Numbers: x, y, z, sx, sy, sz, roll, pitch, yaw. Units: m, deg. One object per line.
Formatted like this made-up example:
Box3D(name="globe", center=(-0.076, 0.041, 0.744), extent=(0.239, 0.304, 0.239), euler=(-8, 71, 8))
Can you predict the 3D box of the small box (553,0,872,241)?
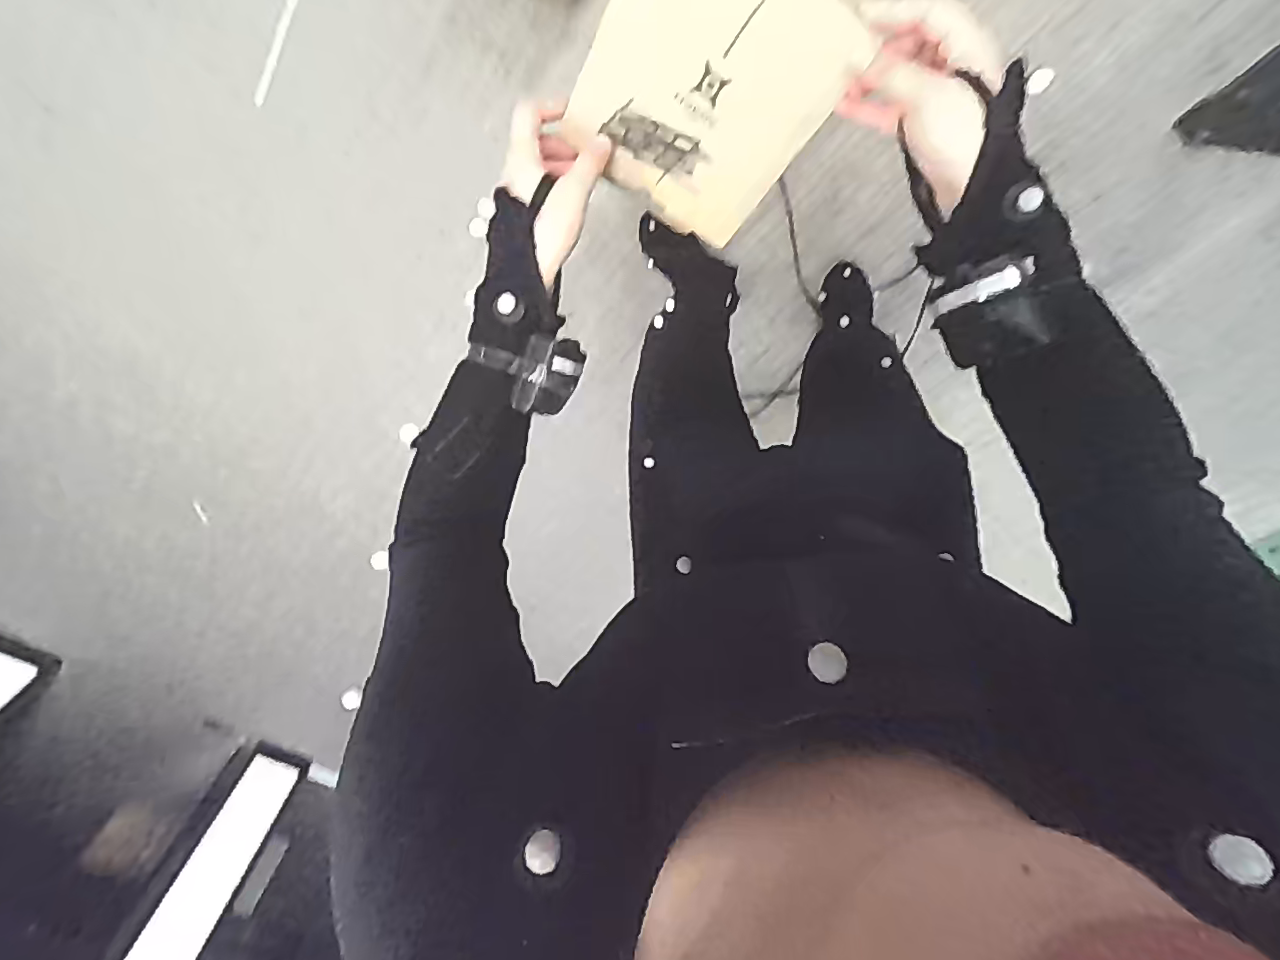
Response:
Box3D(name="small box", center=(0.056, -0.342, 0.427), extent=(0.168, 0.176, 0.179), euler=(26, 143, -19))
